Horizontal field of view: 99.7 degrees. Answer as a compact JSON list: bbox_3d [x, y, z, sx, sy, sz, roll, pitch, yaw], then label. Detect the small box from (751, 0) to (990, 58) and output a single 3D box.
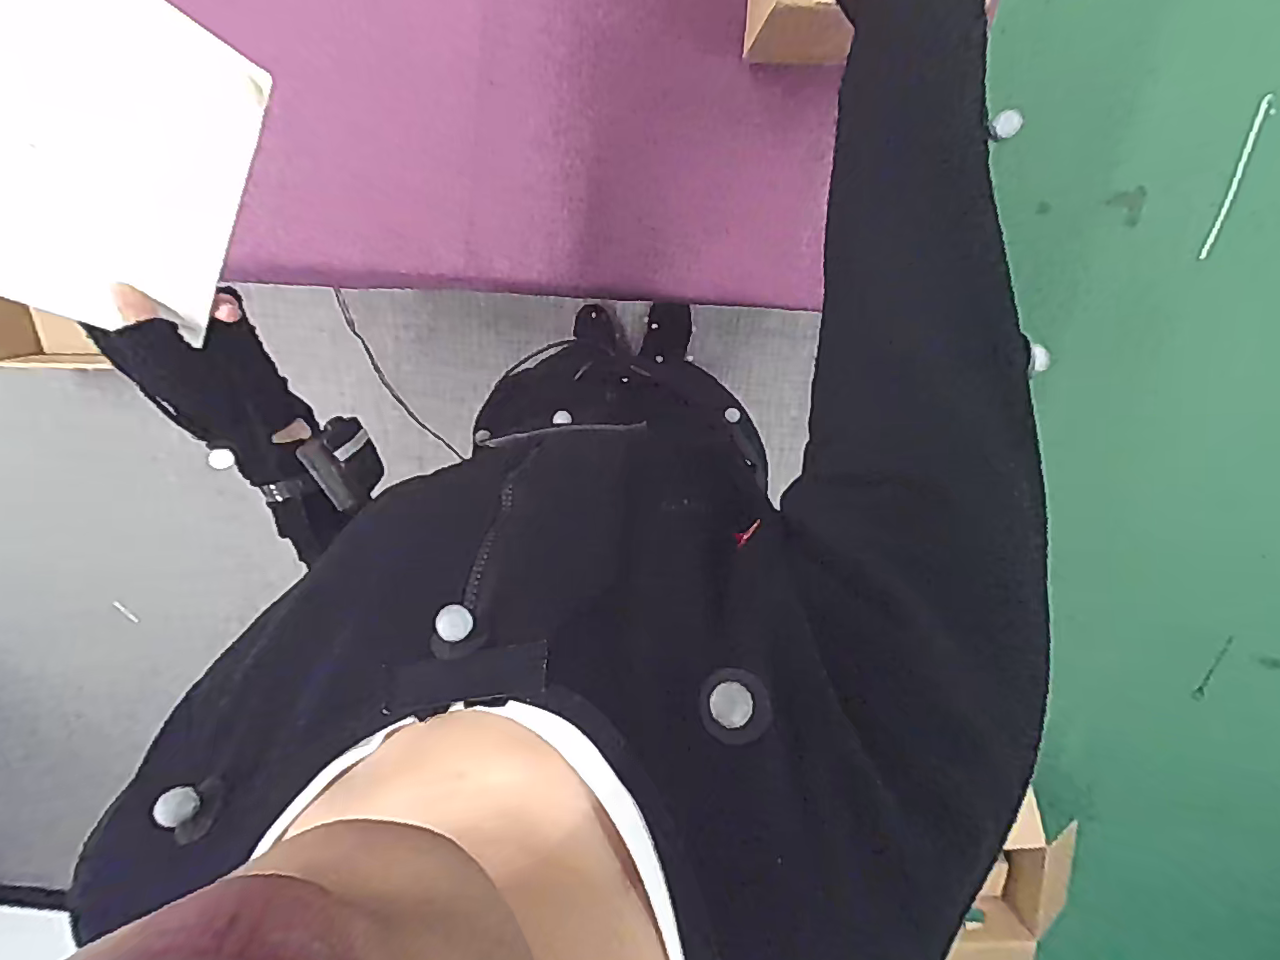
[{"bbox_3d":[0.192,-0.474,0.446,0.168,0.176,0.179,2,116,0],"label":"small box"}]
